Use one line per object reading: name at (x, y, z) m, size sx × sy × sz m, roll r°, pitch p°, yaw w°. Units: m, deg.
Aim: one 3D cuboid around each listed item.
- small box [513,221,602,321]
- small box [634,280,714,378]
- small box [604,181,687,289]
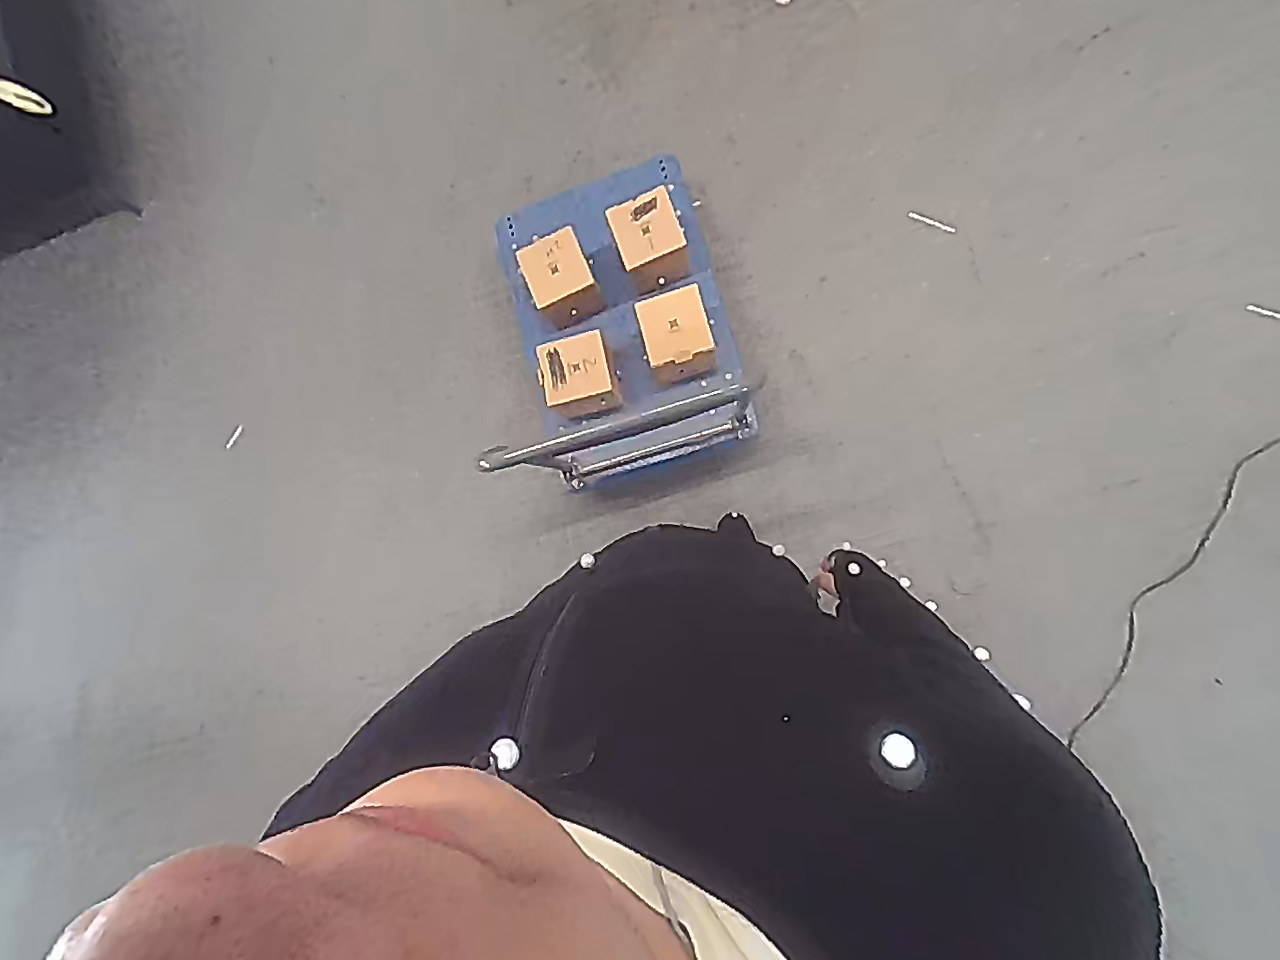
small box at (-0.217, -0.557, 1.475) m, size 0.168 × 0.176 × 0.179 m, roll -23°, pitch 83°, yaw 6°
small box at (0.093, -0.388, 1.417) m, size 0.168 × 0.176 × 0.179 m, roll -16°, pitch 84°, yaw 8°
small box at (0.020, -0.646, 1.444) m, size 0.168 × 0.176 × 0.179 m, roll -21°, pitch 84°, yaw 8°
